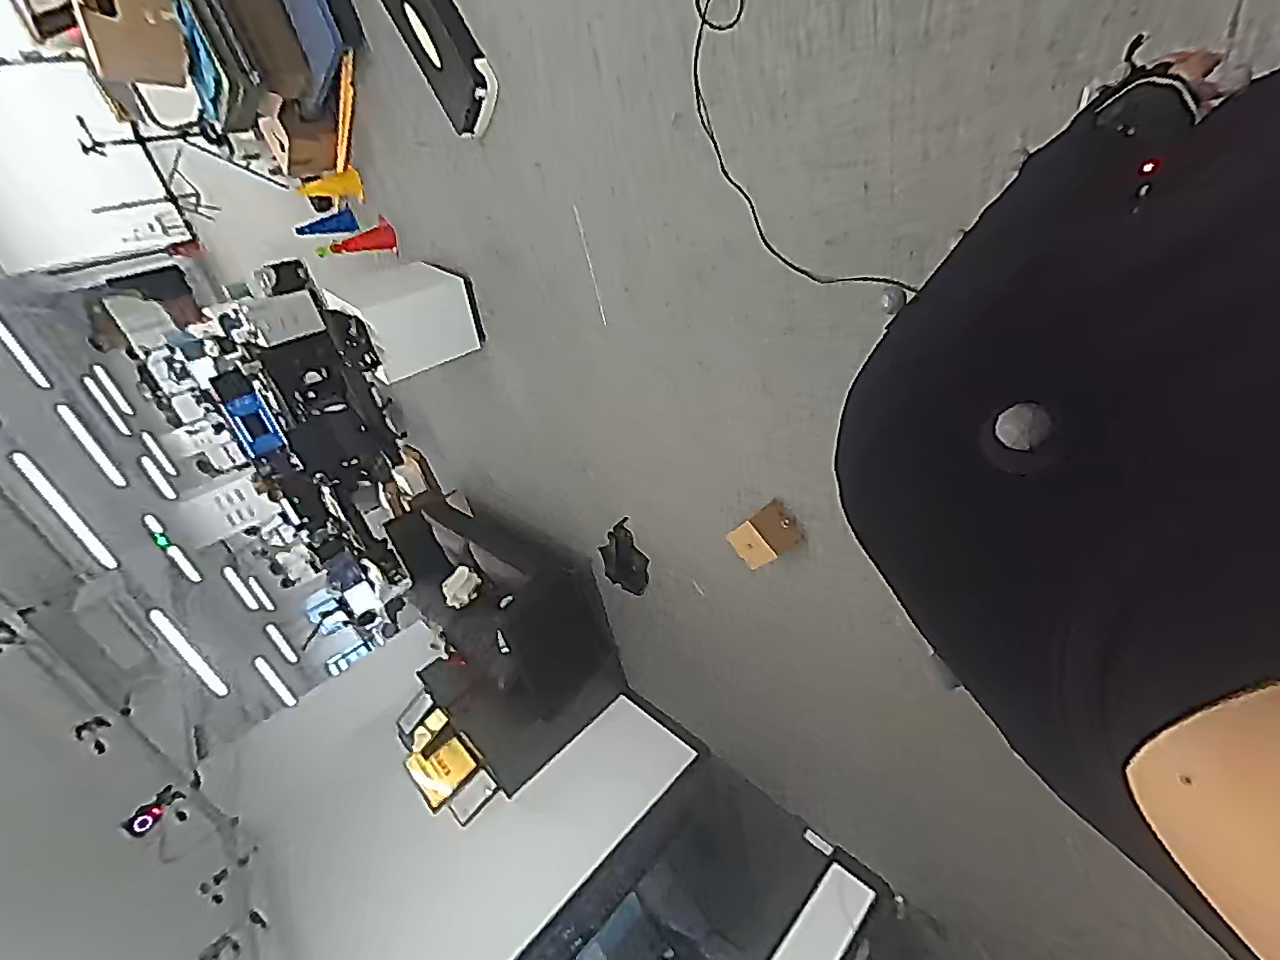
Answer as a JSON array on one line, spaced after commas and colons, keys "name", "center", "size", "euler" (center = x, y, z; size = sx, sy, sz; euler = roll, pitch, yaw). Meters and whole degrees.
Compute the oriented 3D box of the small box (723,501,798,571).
[{"name": "small box", "center": [0.448, 0.207, 2.003], "size": [0.168, 0.176, 0.179], "euler": [51, 147, 8]}]
